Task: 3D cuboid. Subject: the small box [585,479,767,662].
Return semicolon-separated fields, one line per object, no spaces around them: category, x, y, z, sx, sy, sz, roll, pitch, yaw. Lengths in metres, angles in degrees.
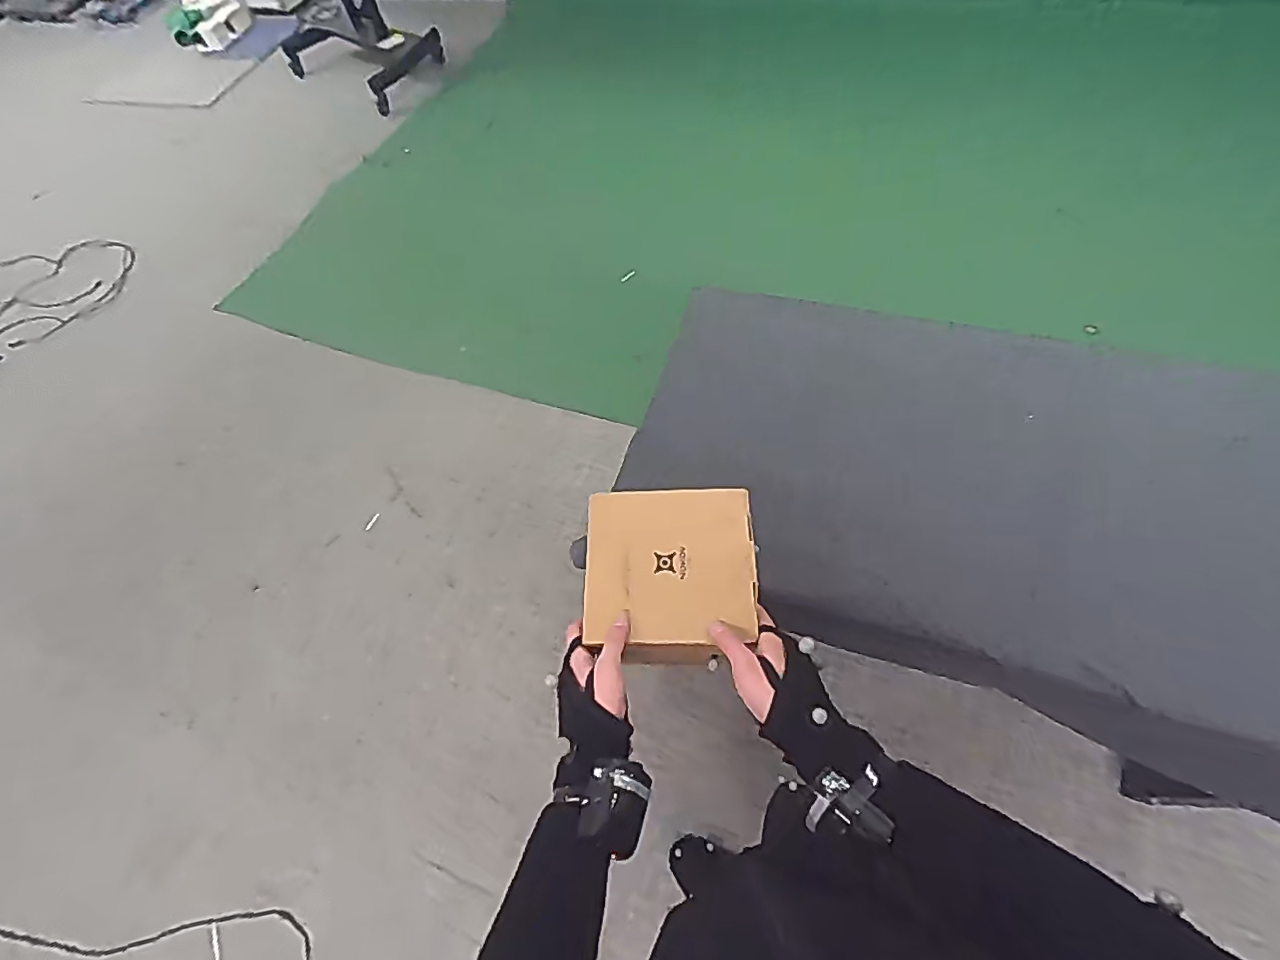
small box;0.041;0.109;0.618;0.179;0.176;0.168;-2;62;5
